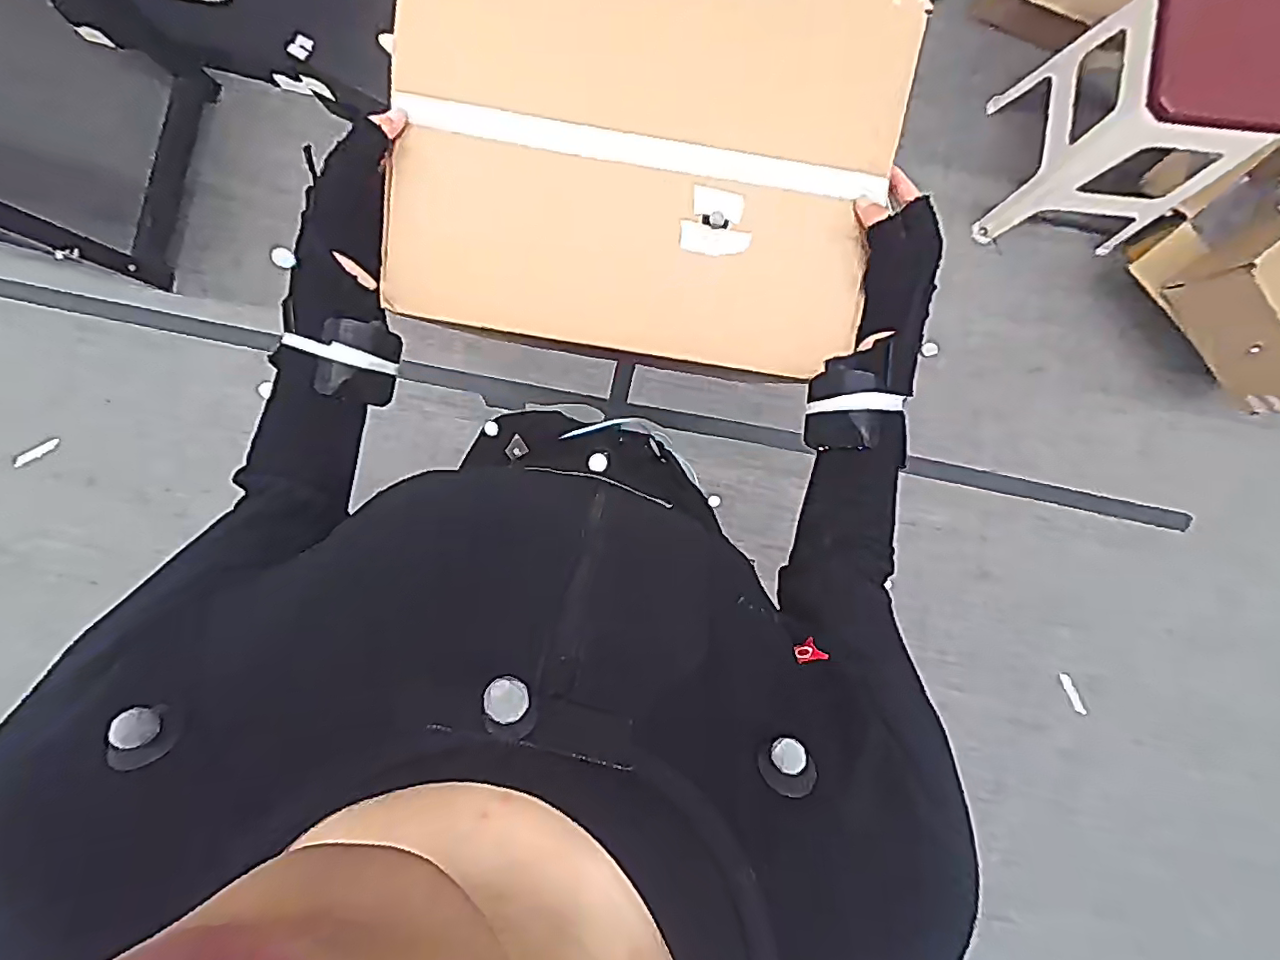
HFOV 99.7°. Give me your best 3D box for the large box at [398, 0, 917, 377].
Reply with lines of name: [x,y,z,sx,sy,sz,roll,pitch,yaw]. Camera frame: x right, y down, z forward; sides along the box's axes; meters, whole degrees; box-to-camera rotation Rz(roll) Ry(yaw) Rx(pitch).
large box: [0.001,-0.298,0.598,0.408,0.320,0.320,9,101,-4]
